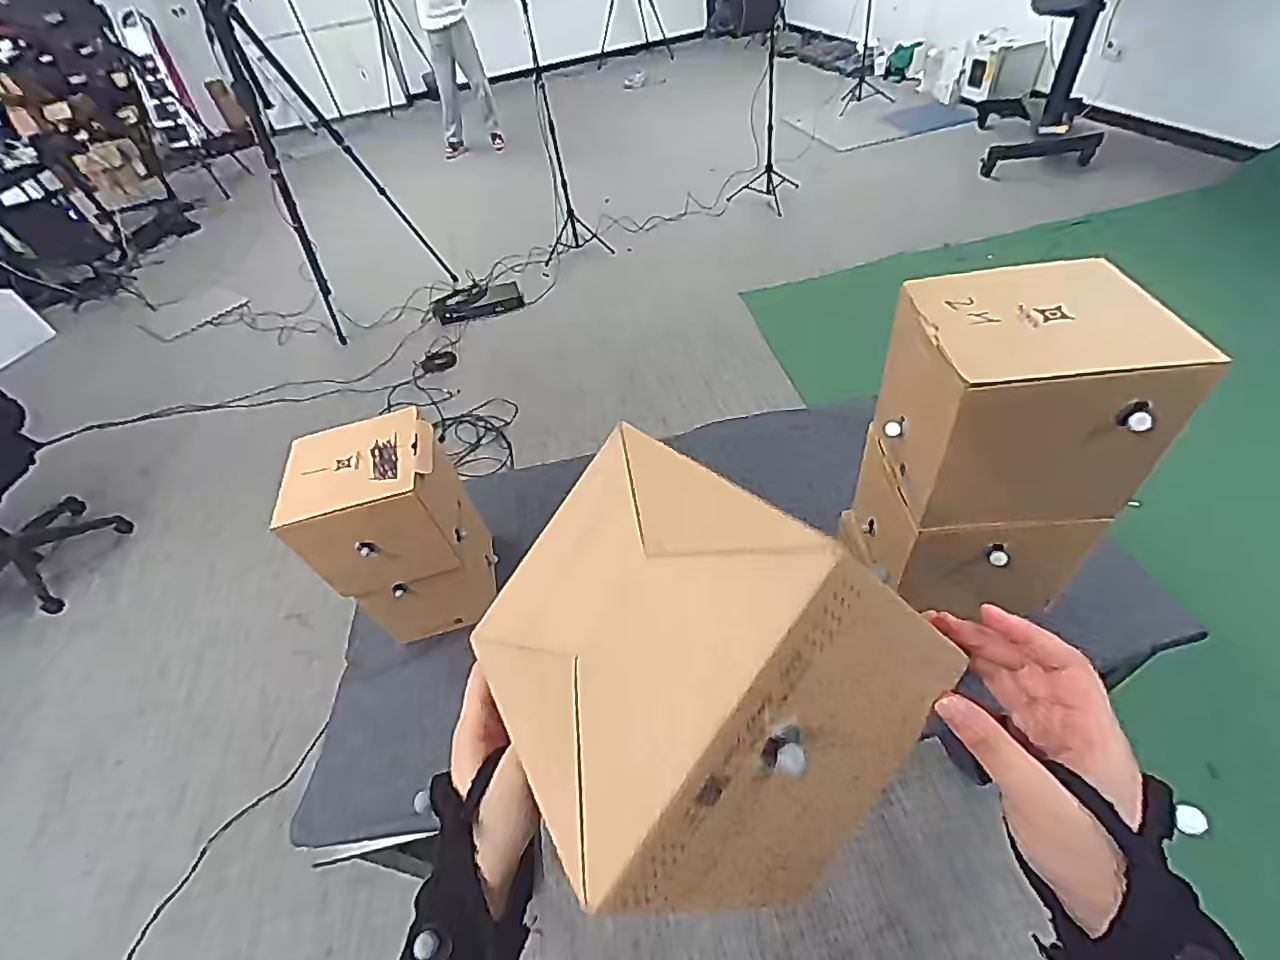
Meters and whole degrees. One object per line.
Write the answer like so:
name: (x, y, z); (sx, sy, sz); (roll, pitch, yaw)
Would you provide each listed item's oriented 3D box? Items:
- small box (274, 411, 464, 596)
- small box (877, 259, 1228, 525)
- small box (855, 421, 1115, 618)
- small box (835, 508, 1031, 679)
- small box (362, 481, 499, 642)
small box: (-0.356, 0.035, 0.754); (0.179, 0.176, 0.168); (-16, 48, -3)
small box: (0.337, -0.075, 0.494); (0.179, 0.176, 0.168); (-5, 45, 9)
small box: (0.360, 0.040, 0.609); (0.179, 0.176, 0.168); (-6, 45, 8)
small box: (0.381, 0.141, 0.736); (0.168, 0.176, 0.179); (-13, 46, 0)
small box: (-0.338, 0.134, 0.886); (0.168, 0.176, 0.179); (-16, 47, -4)
